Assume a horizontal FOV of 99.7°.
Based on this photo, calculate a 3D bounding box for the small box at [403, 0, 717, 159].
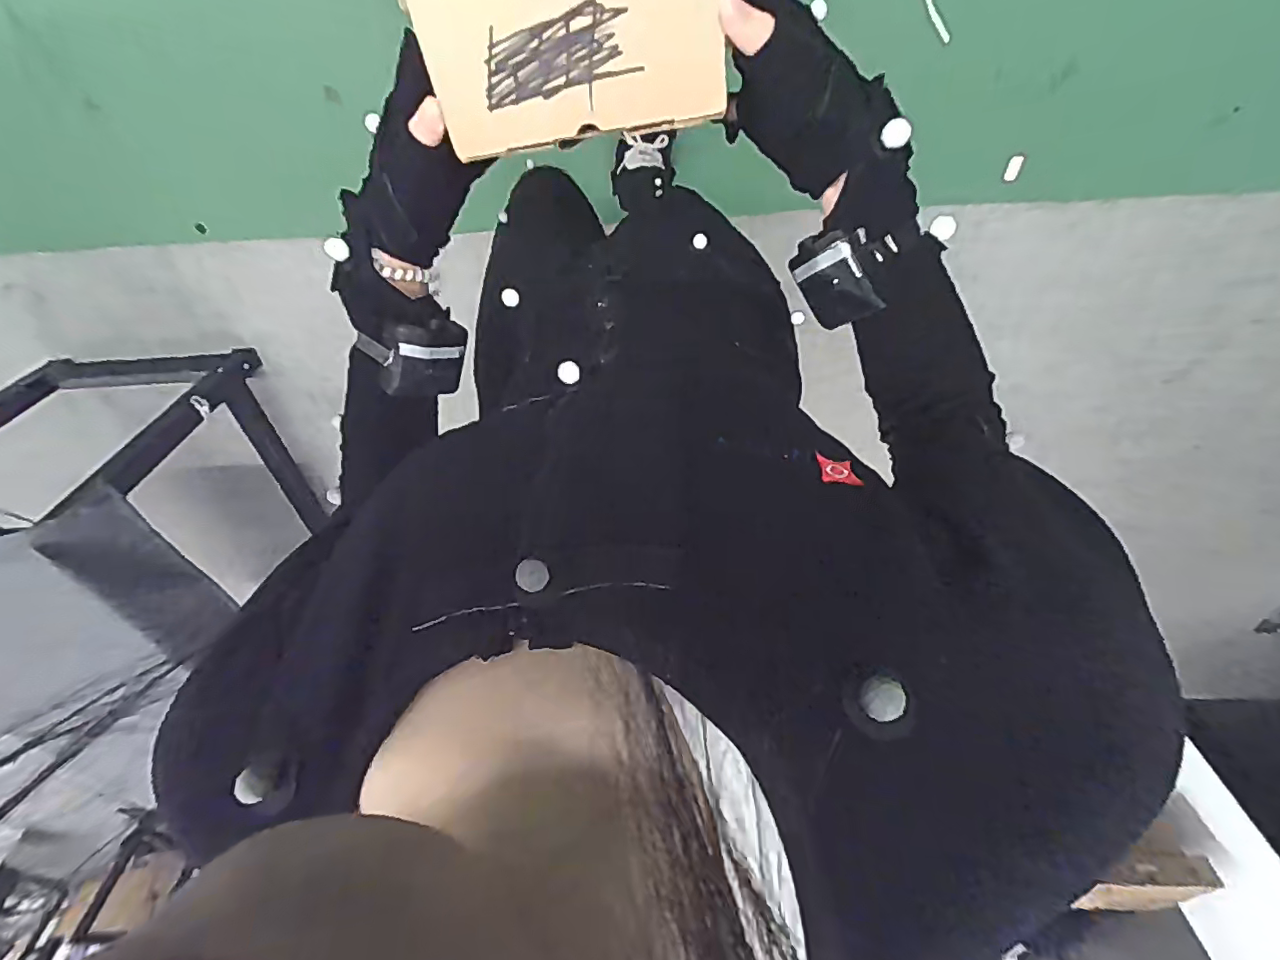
[{"bbox_3d":[-0.045,-0.321,0.327,0.168,0.176,0.179,-7,130,5],"label":"small box"}]
